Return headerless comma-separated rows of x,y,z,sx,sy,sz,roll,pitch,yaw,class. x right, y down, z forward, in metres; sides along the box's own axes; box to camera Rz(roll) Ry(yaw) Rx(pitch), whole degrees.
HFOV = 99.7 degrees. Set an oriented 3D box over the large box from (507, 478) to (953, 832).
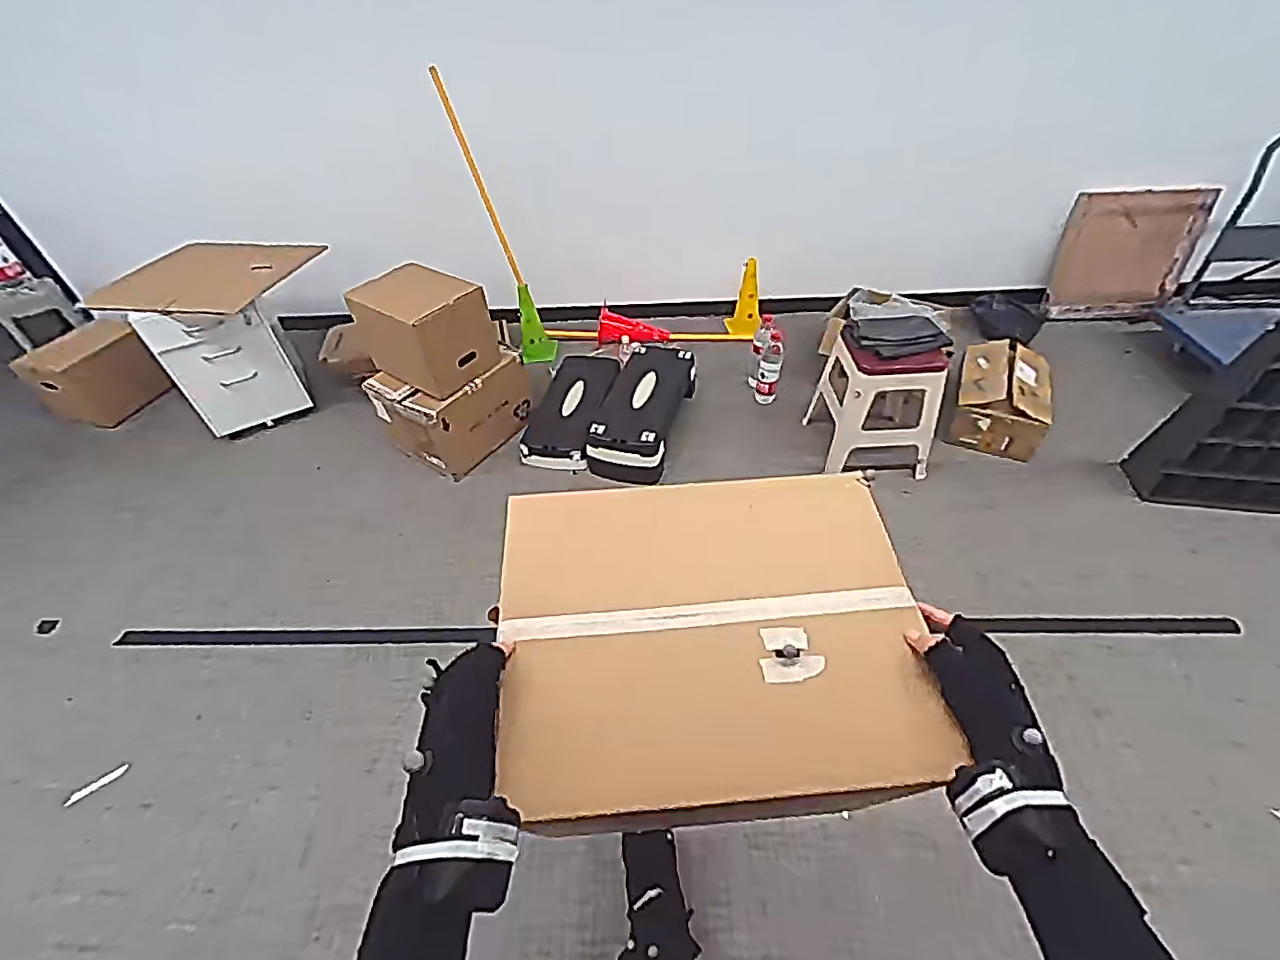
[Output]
0.066,0.224,0.672,0.408,0.320,0.320,-4,55,-3,large box
